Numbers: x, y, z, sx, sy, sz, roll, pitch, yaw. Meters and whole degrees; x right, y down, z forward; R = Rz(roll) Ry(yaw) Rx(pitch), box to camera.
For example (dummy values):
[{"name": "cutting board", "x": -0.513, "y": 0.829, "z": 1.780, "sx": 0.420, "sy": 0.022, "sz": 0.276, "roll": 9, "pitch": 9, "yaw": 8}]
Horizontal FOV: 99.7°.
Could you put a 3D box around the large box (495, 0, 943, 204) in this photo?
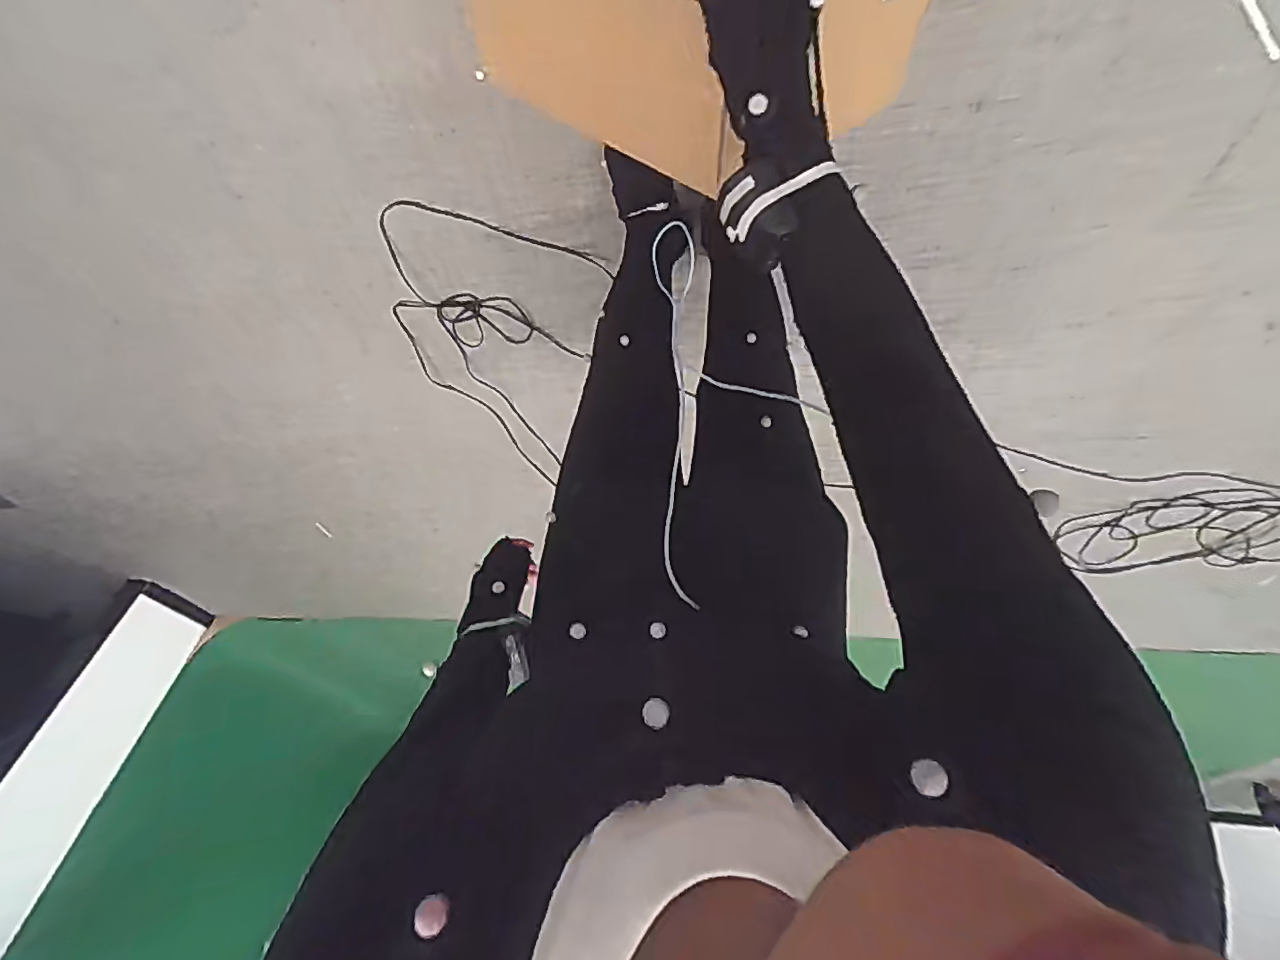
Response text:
[{"name": "large box", "x": 0.076, "y": -0.561, "z": 0.561, "sx": 0.408, "sy": 0.320, "sz": 0.320, "roll": 42, "pitch": 156, "yaw": 26}]
